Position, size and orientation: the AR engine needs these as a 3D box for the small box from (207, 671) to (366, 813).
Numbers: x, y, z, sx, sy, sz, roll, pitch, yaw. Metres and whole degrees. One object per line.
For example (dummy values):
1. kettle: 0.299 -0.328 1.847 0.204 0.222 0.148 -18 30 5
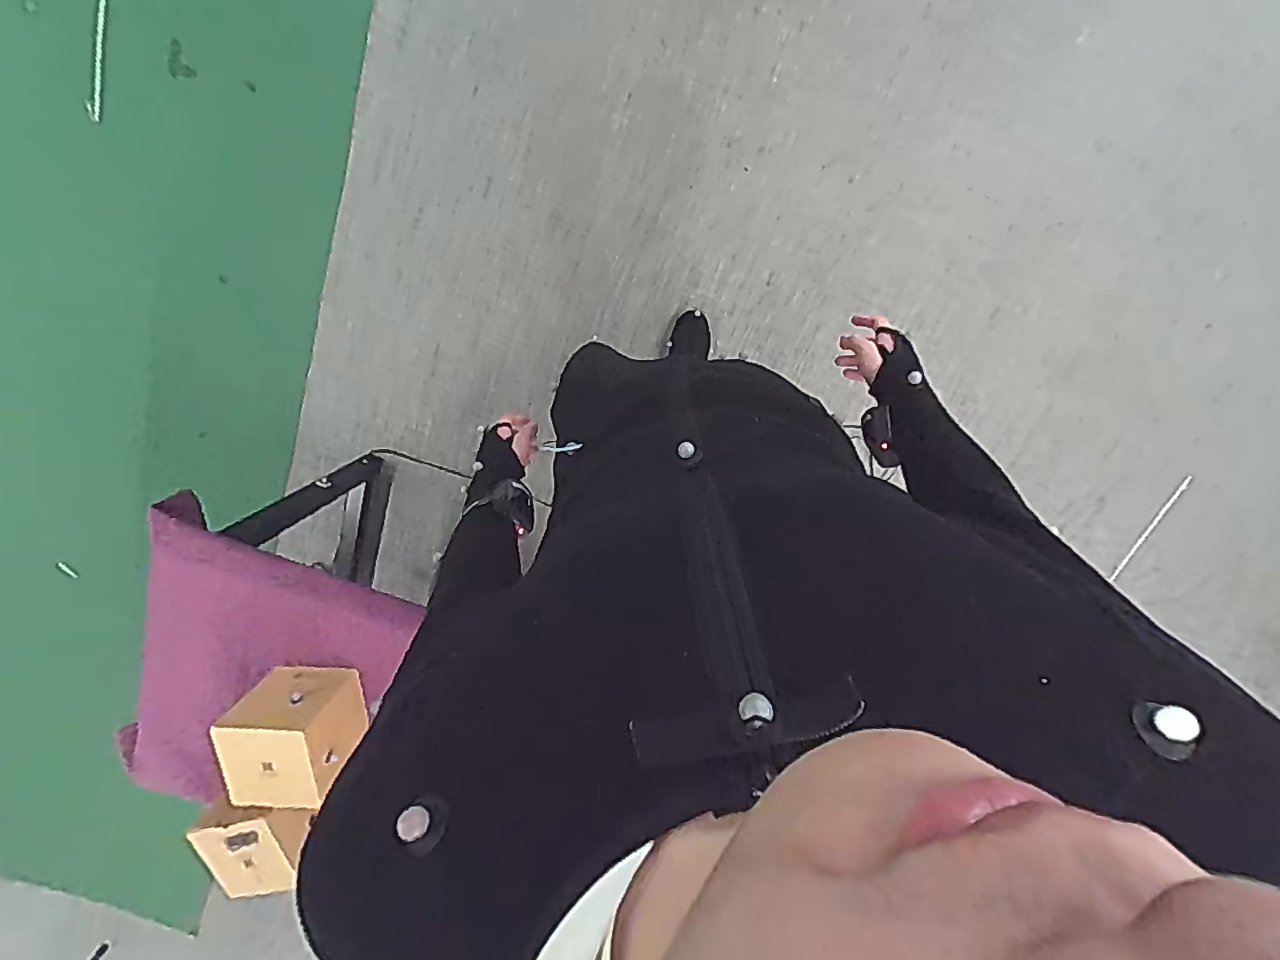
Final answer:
1. small box: -0.633 0.472 0.992 0.168 0.176 0.179 1 109 2

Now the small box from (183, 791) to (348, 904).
1. small box: -0.720 0.677 1.061 0.168 0.176 0.179 -13 107 7
